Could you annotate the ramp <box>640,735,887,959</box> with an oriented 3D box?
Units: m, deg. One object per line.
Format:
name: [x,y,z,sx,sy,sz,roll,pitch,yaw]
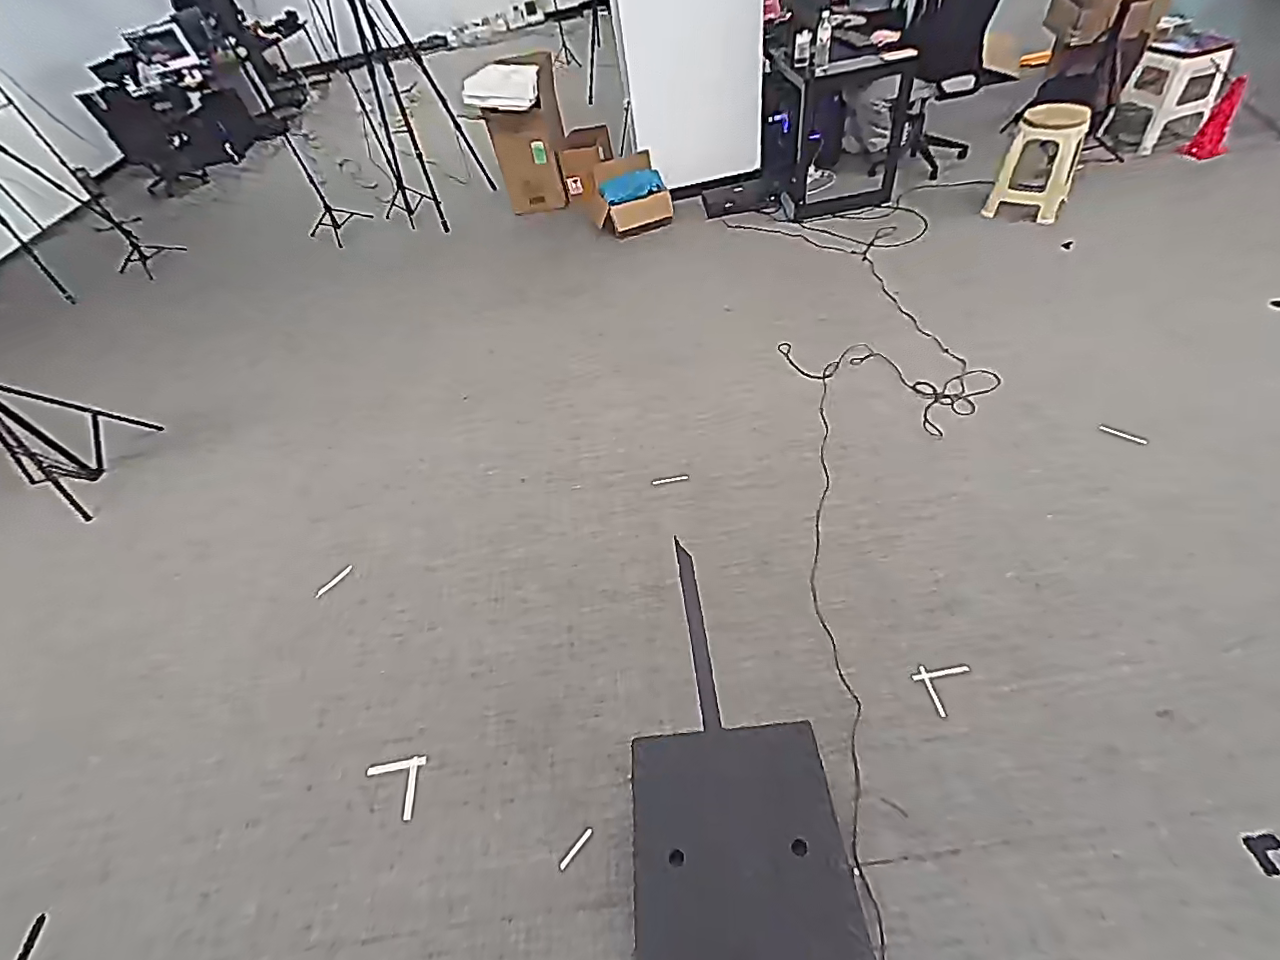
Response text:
ramp: [0.255,1.024,1.072,0.509,0.206,0.991,-12,46,4]
